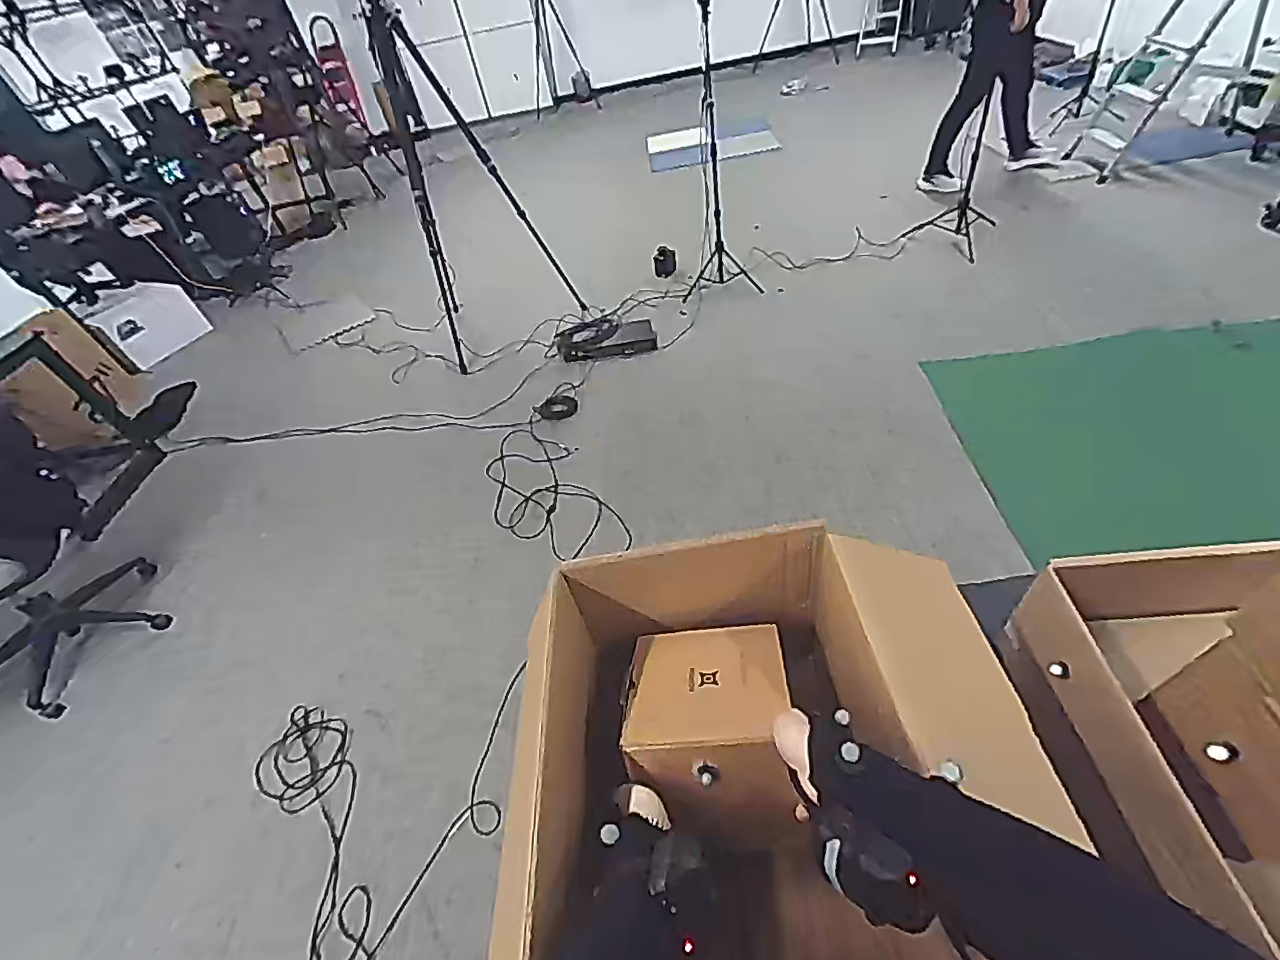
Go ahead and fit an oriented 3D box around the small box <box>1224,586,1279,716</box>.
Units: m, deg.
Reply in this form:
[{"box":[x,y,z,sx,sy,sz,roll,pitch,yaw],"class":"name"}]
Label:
[{"box":[0.635,0.151,0.415,0.168,0.176,0.179,-5,48,8],"class":"small box"}]
